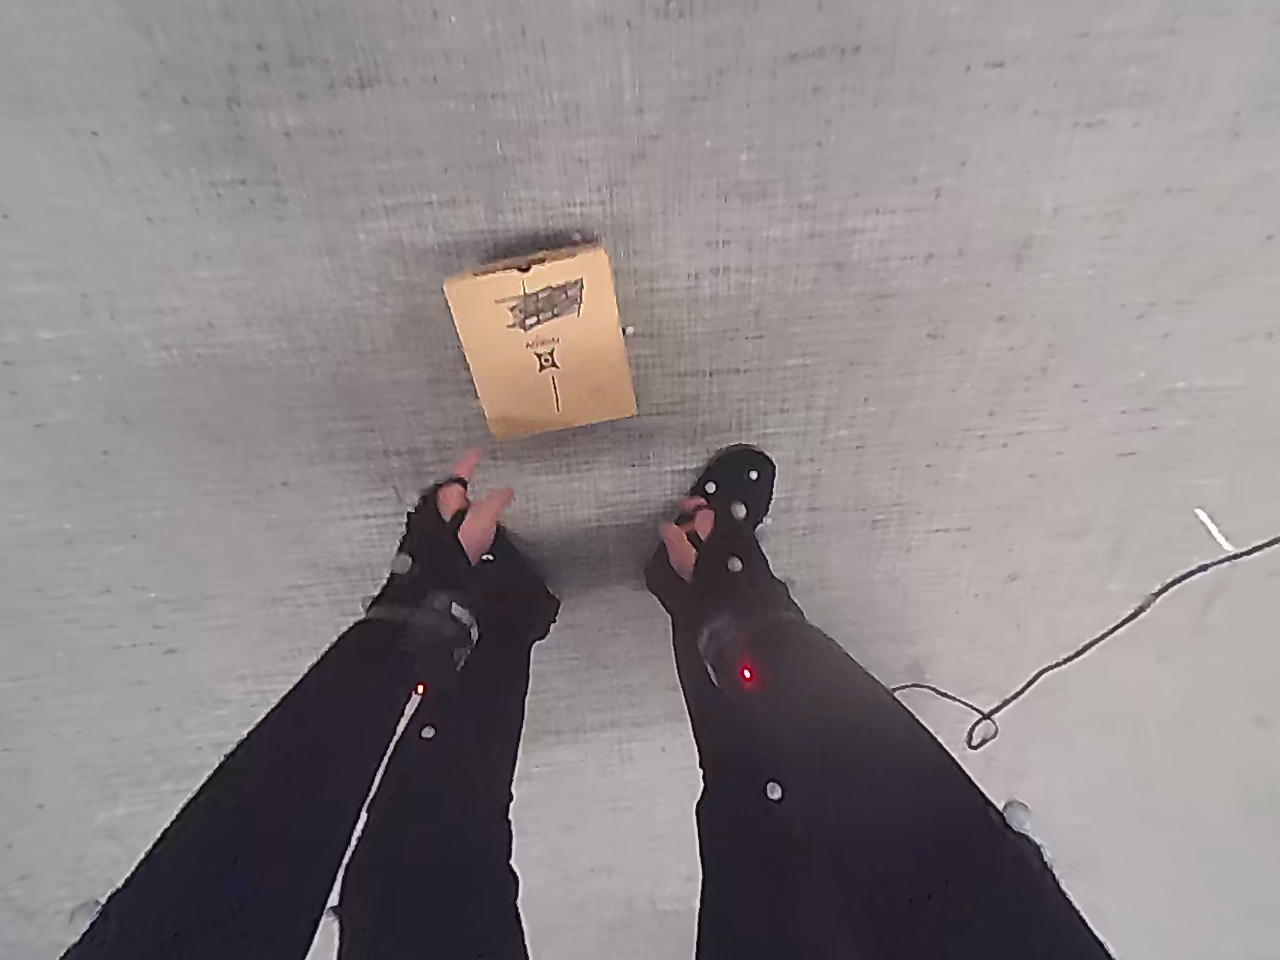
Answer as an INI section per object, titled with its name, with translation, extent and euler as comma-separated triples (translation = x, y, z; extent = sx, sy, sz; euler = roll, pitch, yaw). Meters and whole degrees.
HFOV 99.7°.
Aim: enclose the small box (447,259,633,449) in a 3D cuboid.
[small box]
translation = -0.108, -0.159, 0.642
extent = 0.168, 0.176, 0.179
euler = -11, 116, 0
